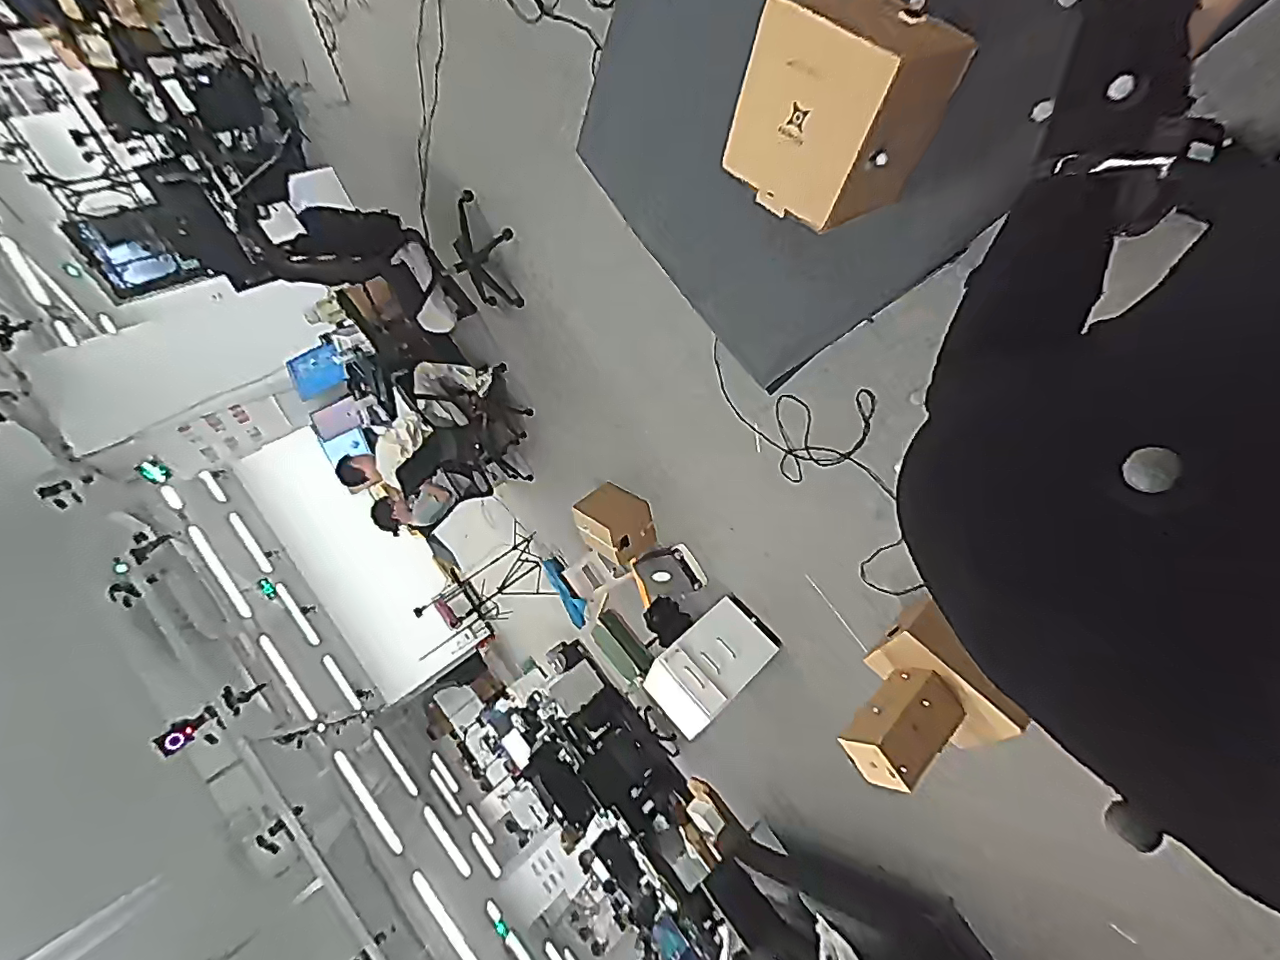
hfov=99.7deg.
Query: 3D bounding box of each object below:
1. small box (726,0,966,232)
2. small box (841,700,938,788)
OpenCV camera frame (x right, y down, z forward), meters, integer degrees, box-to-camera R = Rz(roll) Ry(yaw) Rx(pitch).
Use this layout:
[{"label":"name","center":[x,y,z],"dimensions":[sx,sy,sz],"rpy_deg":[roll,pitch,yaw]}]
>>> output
[{"label":"small box","center":[0.234,-0.431,0.631],"dimensions":[0.168,0.176,0.179],"rpy_deg":[45,149,19]},{"label":"small box","center":[0.769,0.802,1.667],"dimensions":[0.168,0.176,0.179],"rpy_deg":[53,154,3]}]
